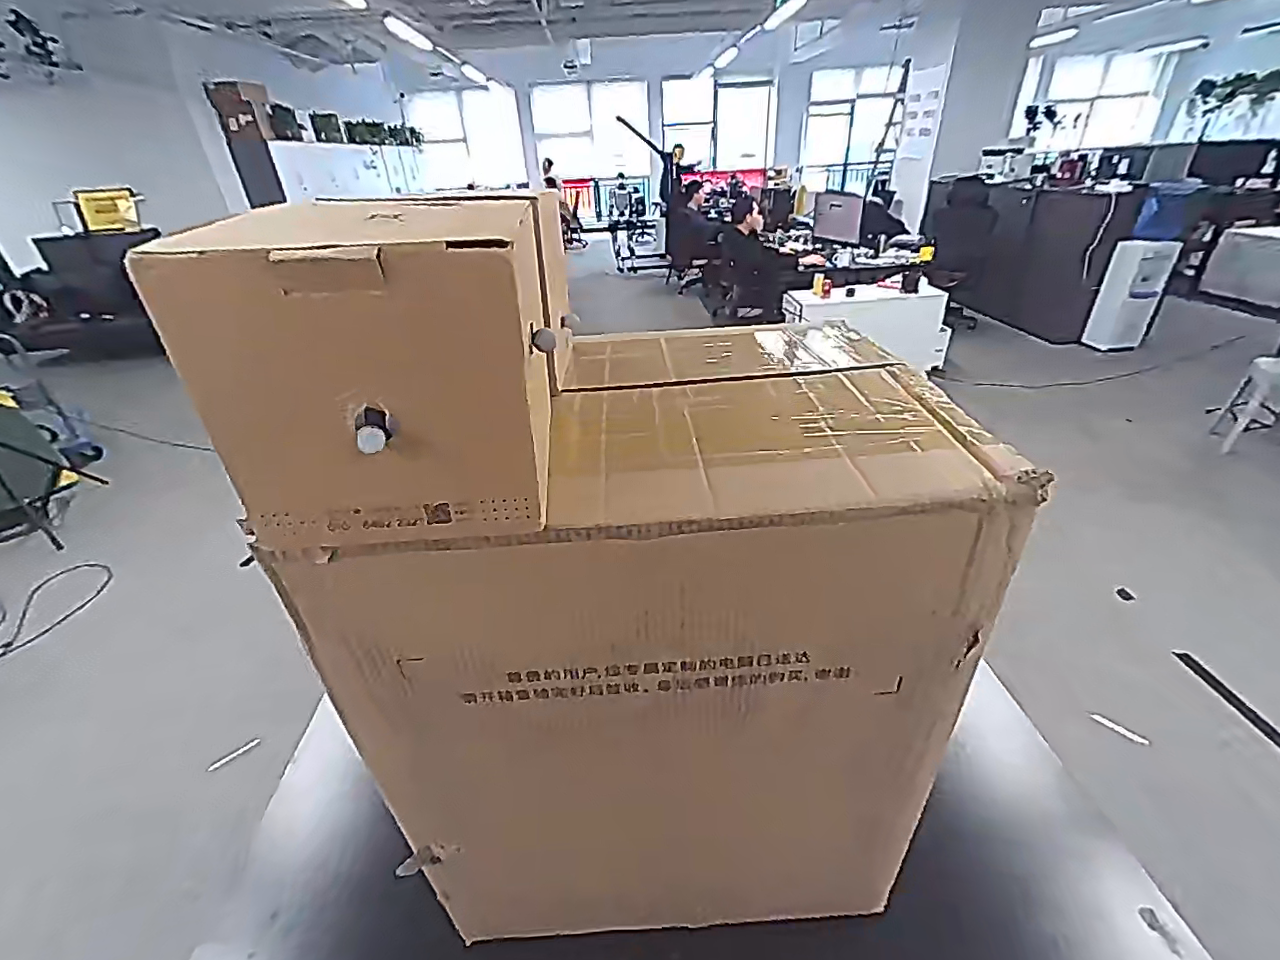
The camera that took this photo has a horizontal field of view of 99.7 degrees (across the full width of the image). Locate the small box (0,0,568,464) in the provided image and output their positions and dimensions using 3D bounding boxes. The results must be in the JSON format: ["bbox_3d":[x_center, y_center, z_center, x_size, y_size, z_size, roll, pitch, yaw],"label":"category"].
[{"bbox_3d":[-0.125,-0.117,0.272,0.168,0.176,0.179,-4,35,-7],"label":"small box"}]

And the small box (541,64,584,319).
[{"bbox_3d":[-0.145,-0.224,0.448,0.179,0.176,0.168,-3,30,-1],"label":"small box"}]
